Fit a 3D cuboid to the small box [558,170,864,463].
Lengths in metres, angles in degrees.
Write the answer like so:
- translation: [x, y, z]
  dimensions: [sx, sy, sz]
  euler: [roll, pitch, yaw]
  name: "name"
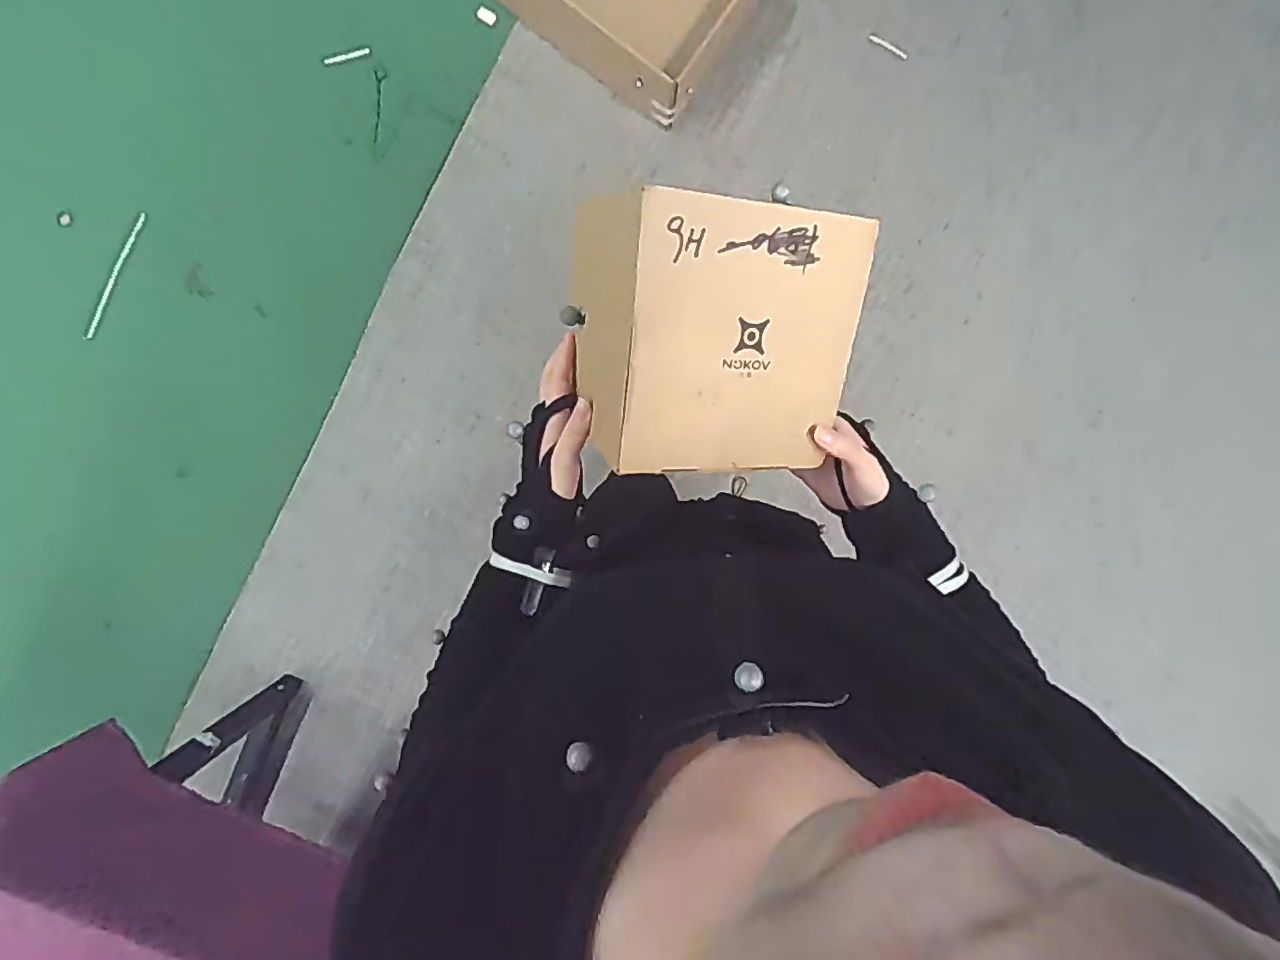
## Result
- translation: [0.034, -0.125, 0.423]
  dimensions: [0.168, 0.176, 0.179]
  euler: [-2, 114, -20]
  name: "small box"
